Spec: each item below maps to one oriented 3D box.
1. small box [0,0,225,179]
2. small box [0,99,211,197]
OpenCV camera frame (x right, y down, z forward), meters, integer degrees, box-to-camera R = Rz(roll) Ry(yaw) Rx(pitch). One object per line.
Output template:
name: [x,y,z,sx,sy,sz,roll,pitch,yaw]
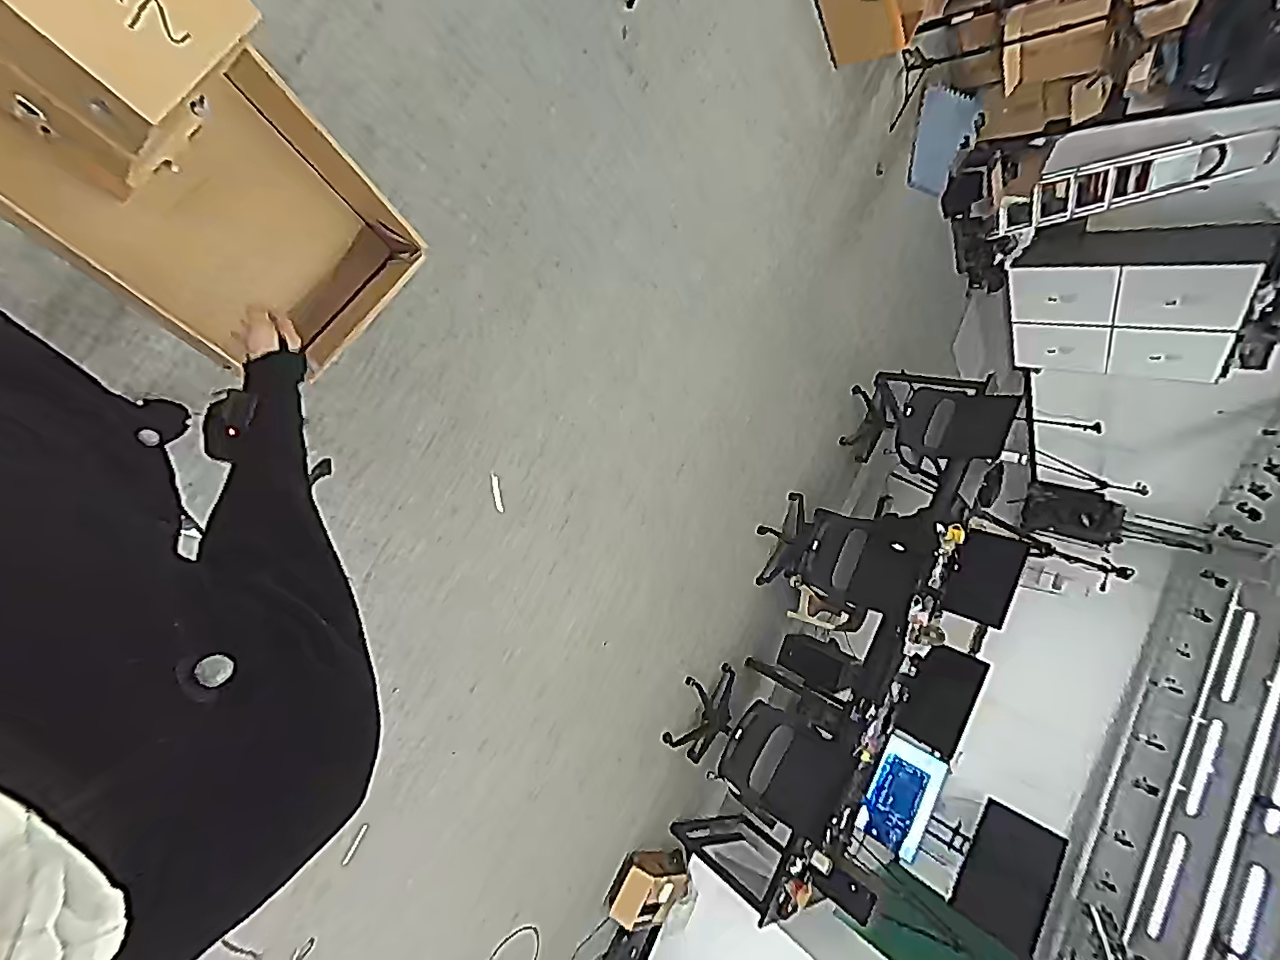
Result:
small box: [-0.645,-0.493,0.636,0.168,0.176,0.179,41,72,-45]
small box: [-0.758,-0.525,0.751,0.168,0.176,0.179,-59,138,-14]
